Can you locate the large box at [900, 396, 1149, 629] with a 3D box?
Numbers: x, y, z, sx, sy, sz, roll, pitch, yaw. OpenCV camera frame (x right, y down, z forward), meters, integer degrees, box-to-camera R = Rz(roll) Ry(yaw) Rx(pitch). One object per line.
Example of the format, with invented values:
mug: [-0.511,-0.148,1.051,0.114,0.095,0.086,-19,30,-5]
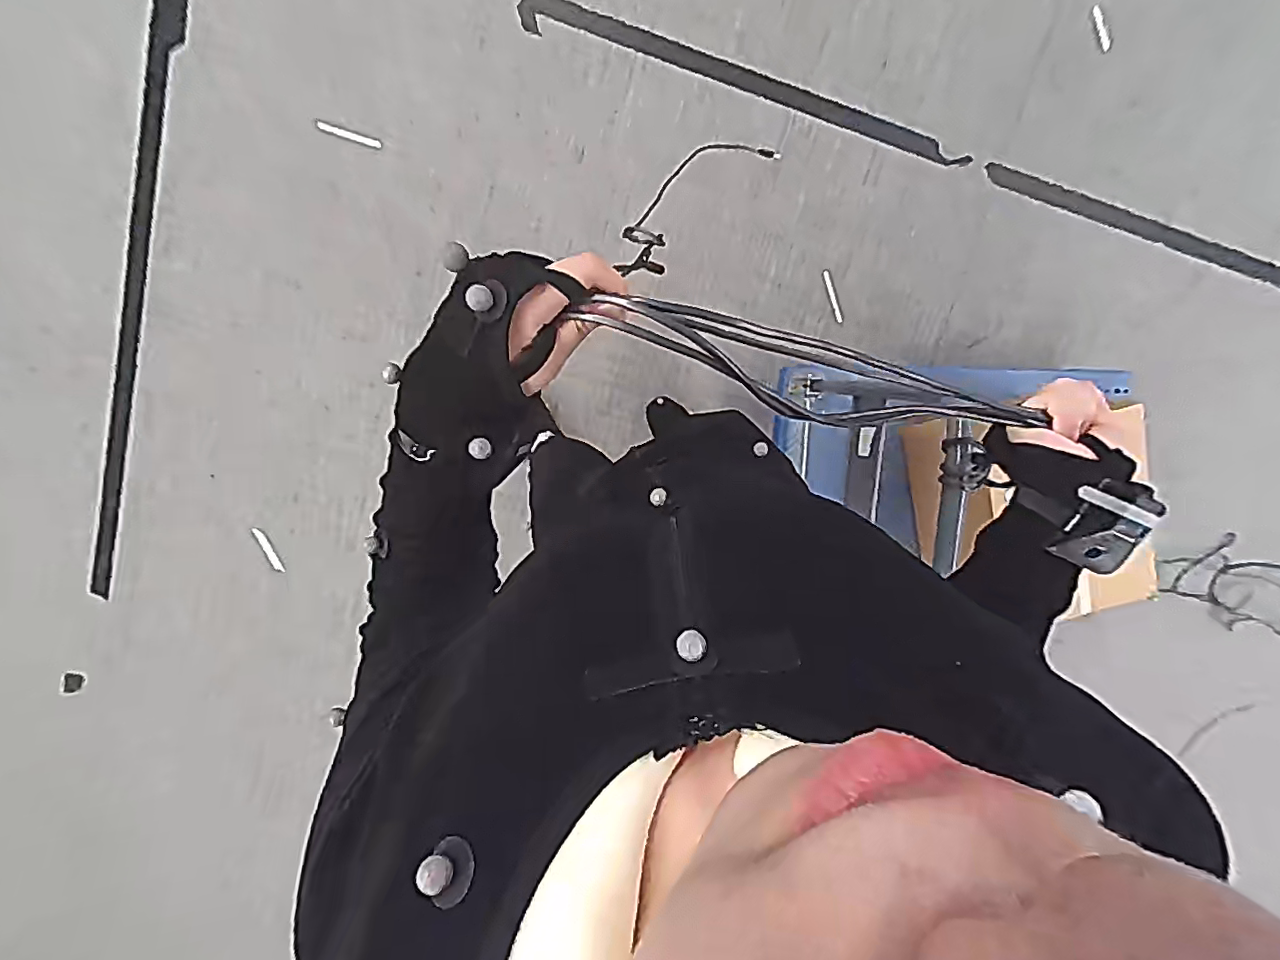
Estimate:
large box: [0.830,0.050,1.206,0.320,0.320,0.408,-15,102,1]
